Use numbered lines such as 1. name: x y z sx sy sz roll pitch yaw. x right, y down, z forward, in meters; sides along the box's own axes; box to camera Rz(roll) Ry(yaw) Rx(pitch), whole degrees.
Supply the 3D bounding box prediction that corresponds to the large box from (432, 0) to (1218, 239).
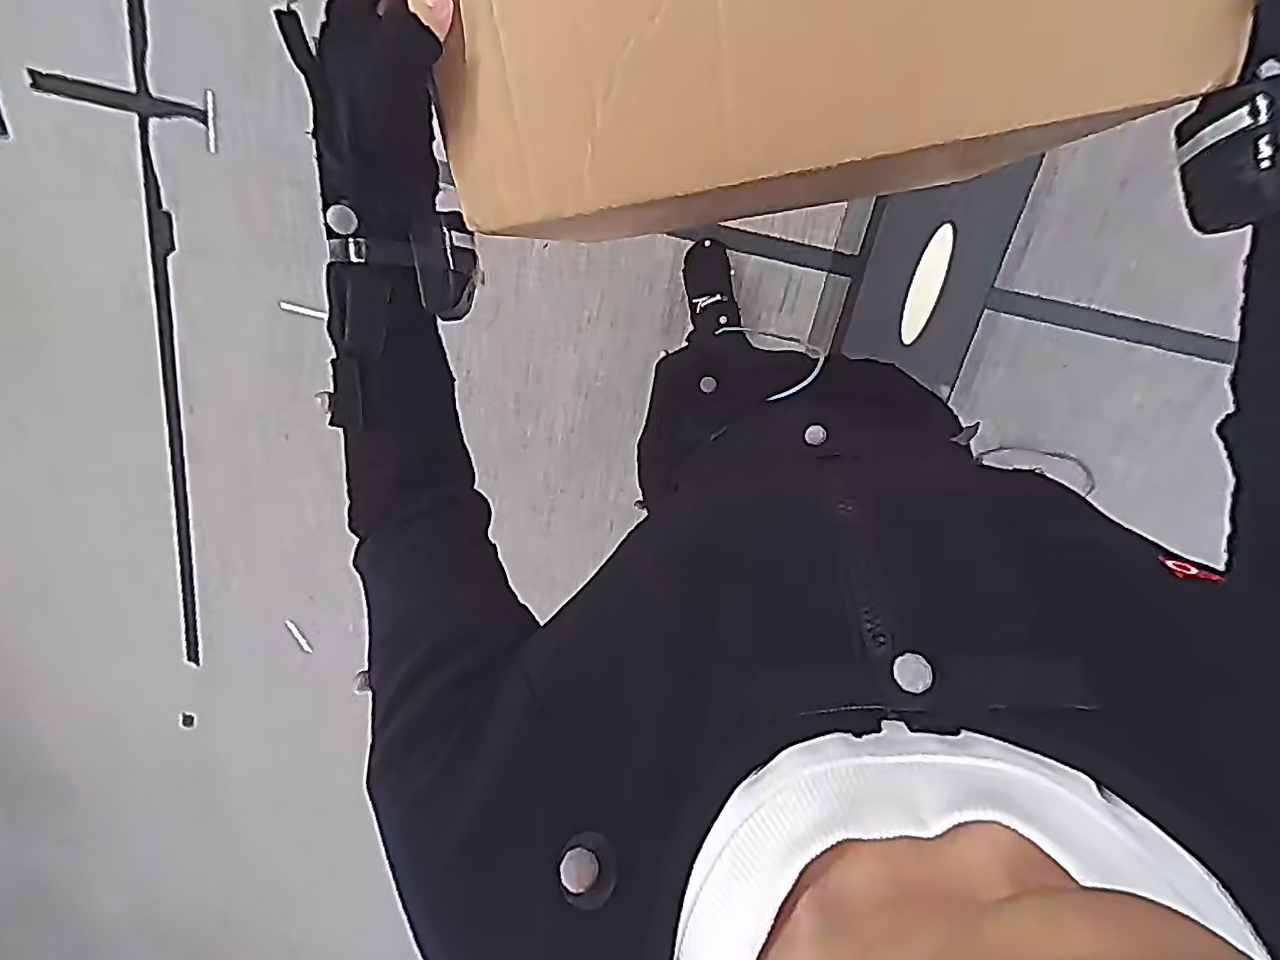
1. large box: 0.087 -0.383 0.396 0.408 0.320 0.320 -6 111 11
